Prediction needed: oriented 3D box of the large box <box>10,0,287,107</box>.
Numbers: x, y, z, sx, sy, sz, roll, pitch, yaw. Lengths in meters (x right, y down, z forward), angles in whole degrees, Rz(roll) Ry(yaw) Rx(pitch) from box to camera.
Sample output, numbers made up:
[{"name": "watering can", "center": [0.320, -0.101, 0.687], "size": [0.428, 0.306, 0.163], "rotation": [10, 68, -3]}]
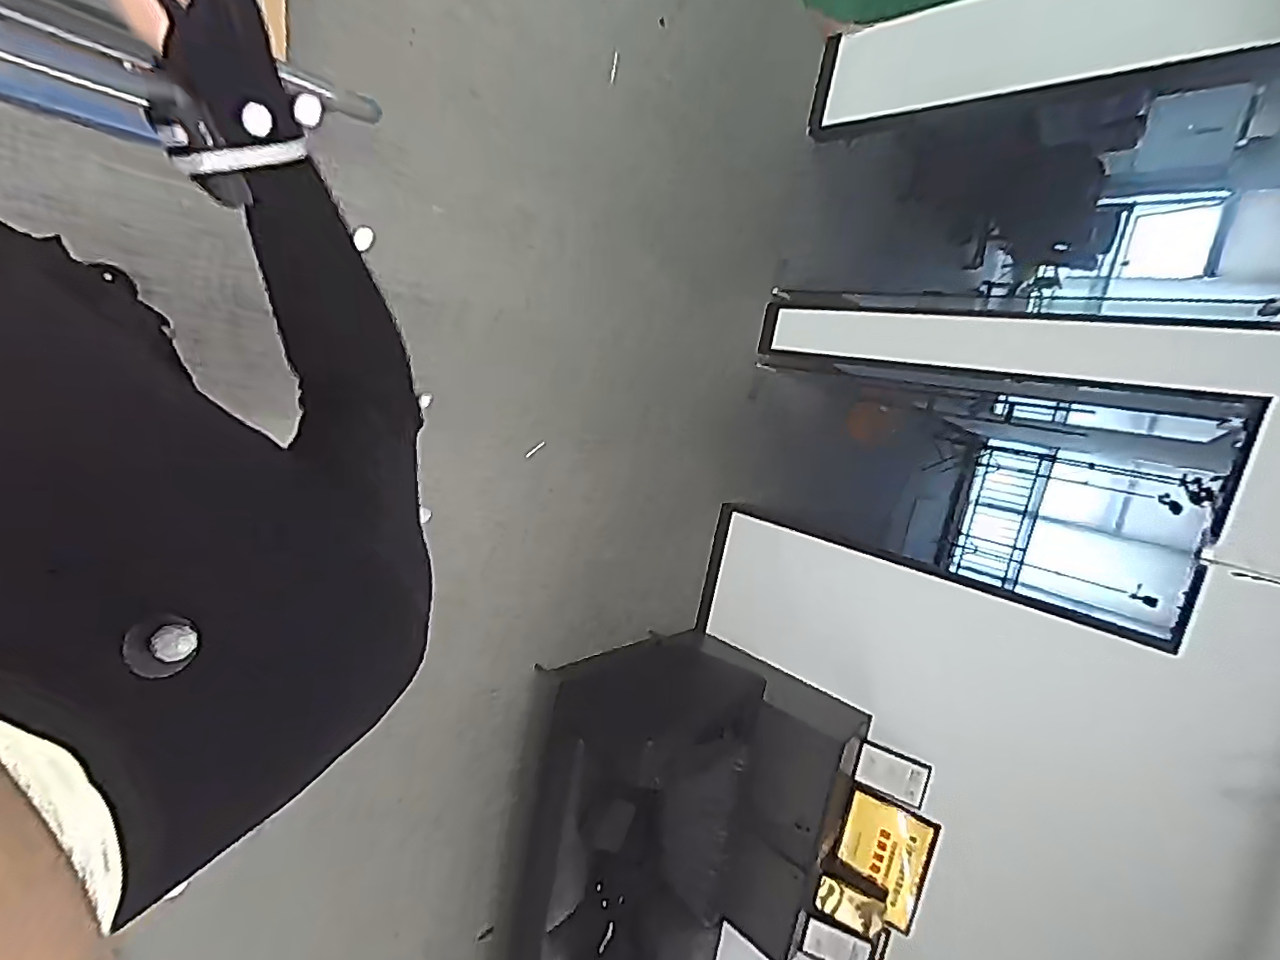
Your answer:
[{"name": "large box", "center": [-0.791, -0.896, 0.854], "size": [0.320, 0.320, 0.408], "rotation": [-8, 110, -49]}]
